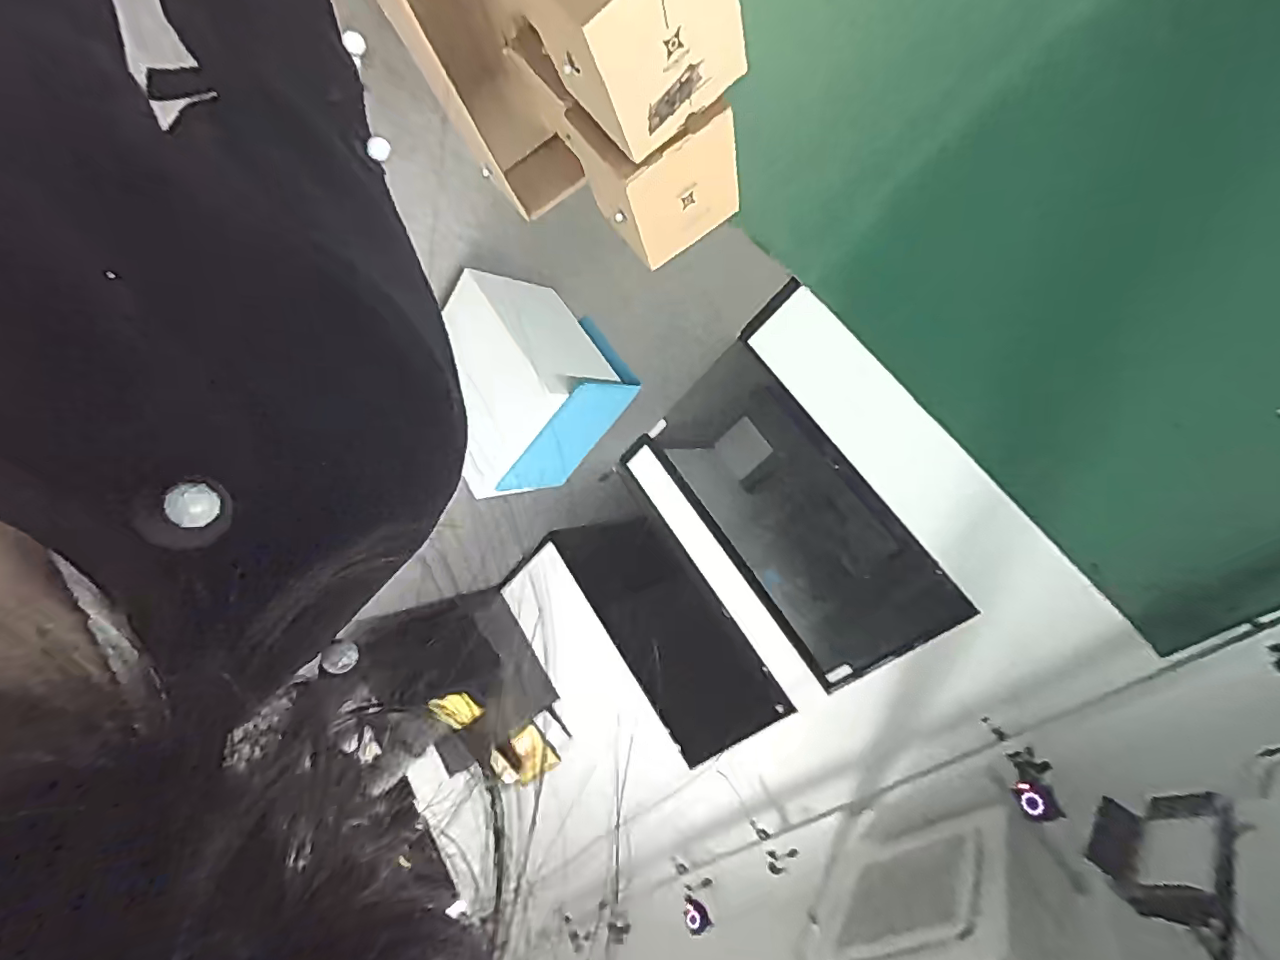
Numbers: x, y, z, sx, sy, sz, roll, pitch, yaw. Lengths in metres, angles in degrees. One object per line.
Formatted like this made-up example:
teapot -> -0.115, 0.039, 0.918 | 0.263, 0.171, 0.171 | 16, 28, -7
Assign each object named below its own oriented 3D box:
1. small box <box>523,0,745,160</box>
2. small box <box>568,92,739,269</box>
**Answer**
small box -> -0.012, -0.503, 0.575 | 0.168, 0.176, 0.179 | -39, 161, 7
small box -> 0.023, -0.453, 0.774 | 0.168, 0.176, 0.179 | -35, 159, 1
